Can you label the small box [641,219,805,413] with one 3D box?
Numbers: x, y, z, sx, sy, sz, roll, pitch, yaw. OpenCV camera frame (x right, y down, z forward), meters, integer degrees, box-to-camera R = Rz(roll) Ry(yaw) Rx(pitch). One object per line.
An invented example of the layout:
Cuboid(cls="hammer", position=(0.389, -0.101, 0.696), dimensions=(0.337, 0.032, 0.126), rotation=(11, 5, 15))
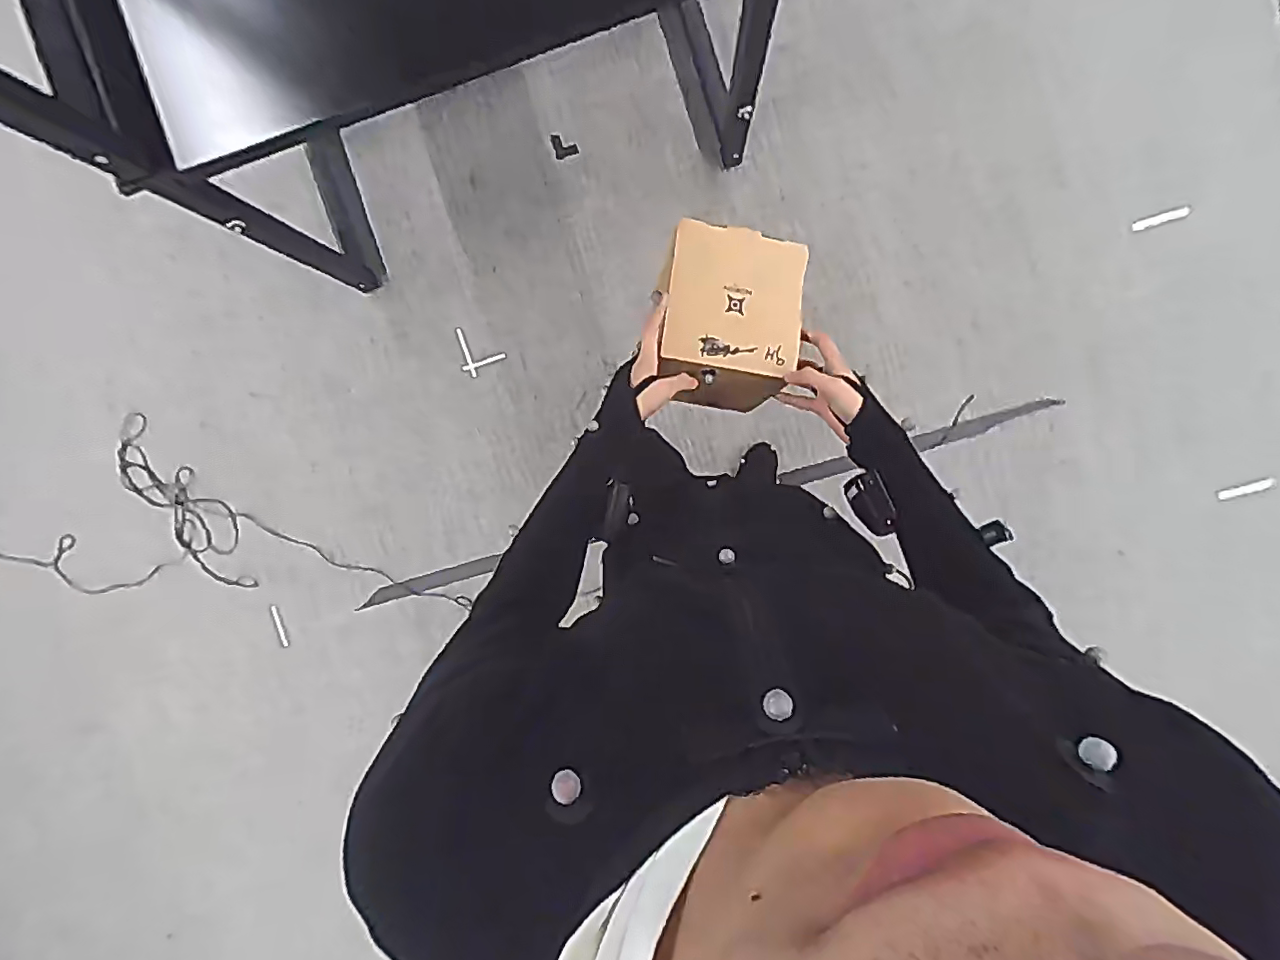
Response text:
Cuboid(cls="small box", position=(0.099, -0.203, 0.714), dimensions=(0.168, 0.176, 0.179), rotation=(9, 83, -6))
